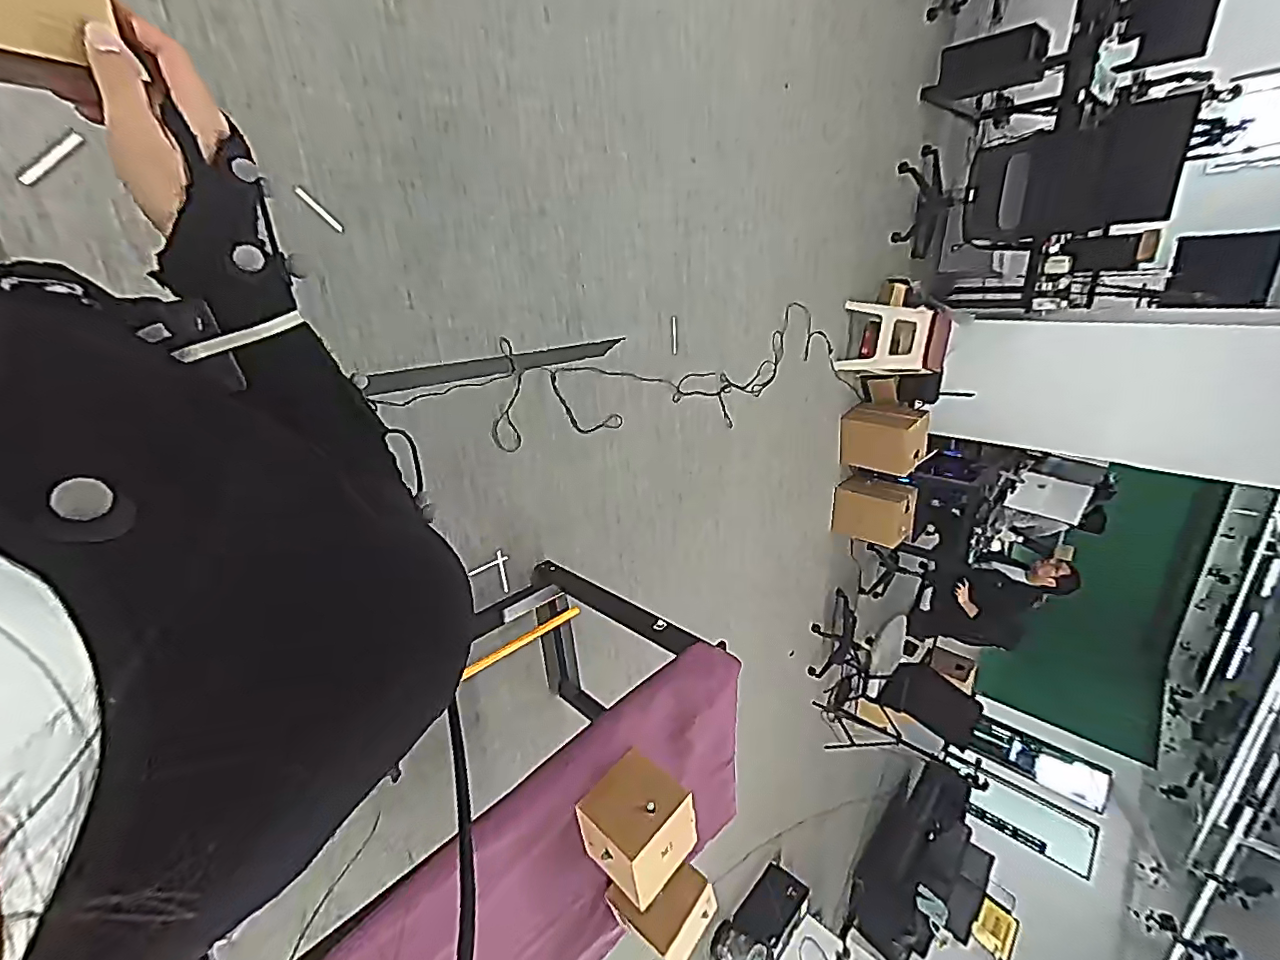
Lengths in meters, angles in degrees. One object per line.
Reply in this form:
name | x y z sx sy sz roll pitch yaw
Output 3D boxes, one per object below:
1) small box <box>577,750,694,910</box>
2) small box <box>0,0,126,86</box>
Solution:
small box | -0.013 0.704 1.108 0.179 0.176 0.168 -30 123 -39
small box | -0.384 -0.304 0.251 0.179 0.176 0.168 -18 125 -43
